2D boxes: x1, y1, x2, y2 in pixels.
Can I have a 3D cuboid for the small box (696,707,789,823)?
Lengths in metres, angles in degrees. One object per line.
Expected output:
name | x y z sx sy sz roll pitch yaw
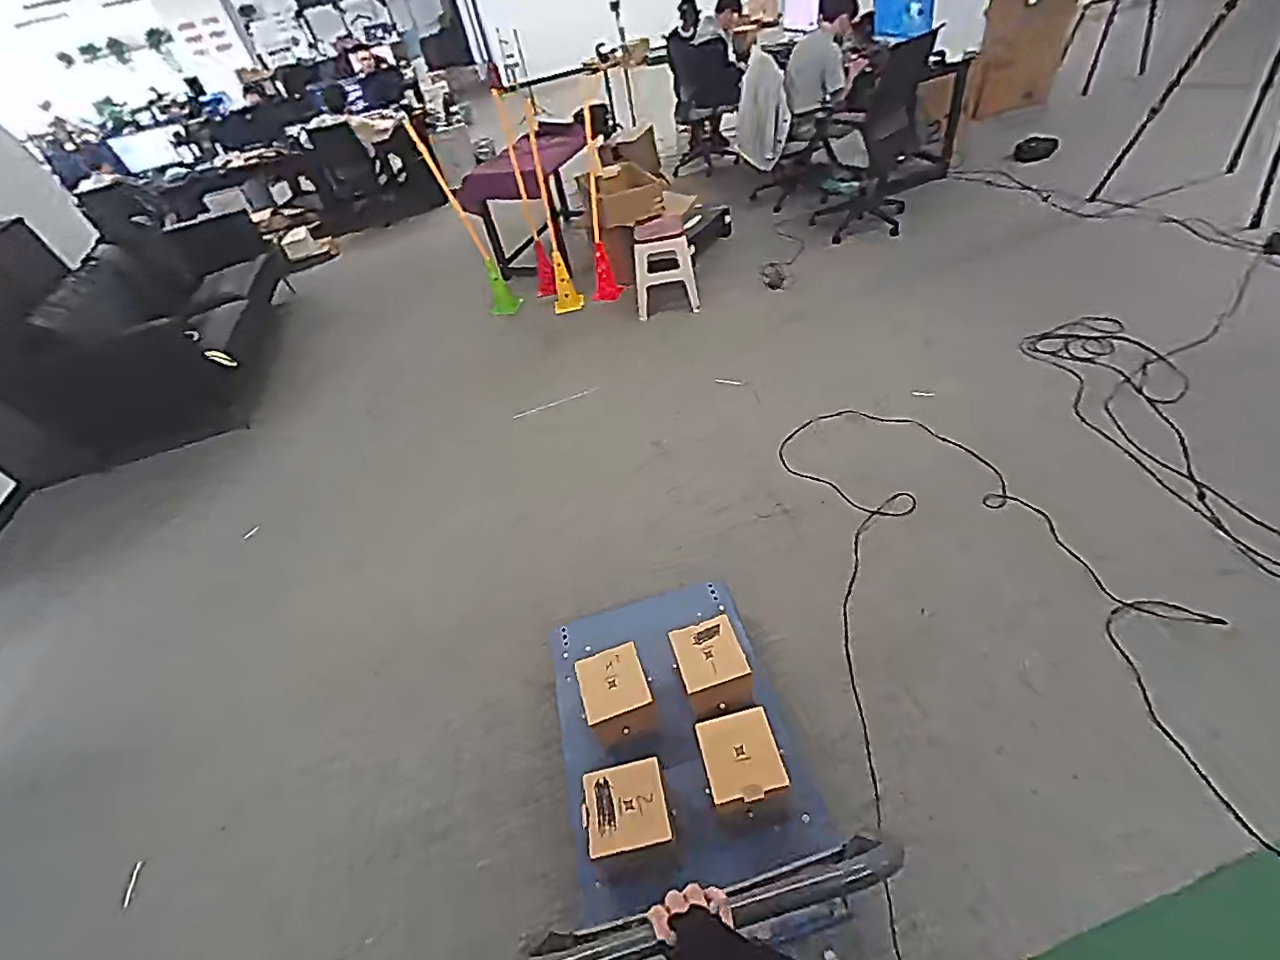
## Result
small box | 0.232 0.659 1.250 0.168 0.176 0.179 -15 45 -1

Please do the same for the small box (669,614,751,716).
small box | 0.185 0.489 1.426 0.168 0.176 0.179 -17 46 -3

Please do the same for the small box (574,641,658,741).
small box | -0.059 0.559 1.415 0.168 0.176 0.179 -18 45 -5
